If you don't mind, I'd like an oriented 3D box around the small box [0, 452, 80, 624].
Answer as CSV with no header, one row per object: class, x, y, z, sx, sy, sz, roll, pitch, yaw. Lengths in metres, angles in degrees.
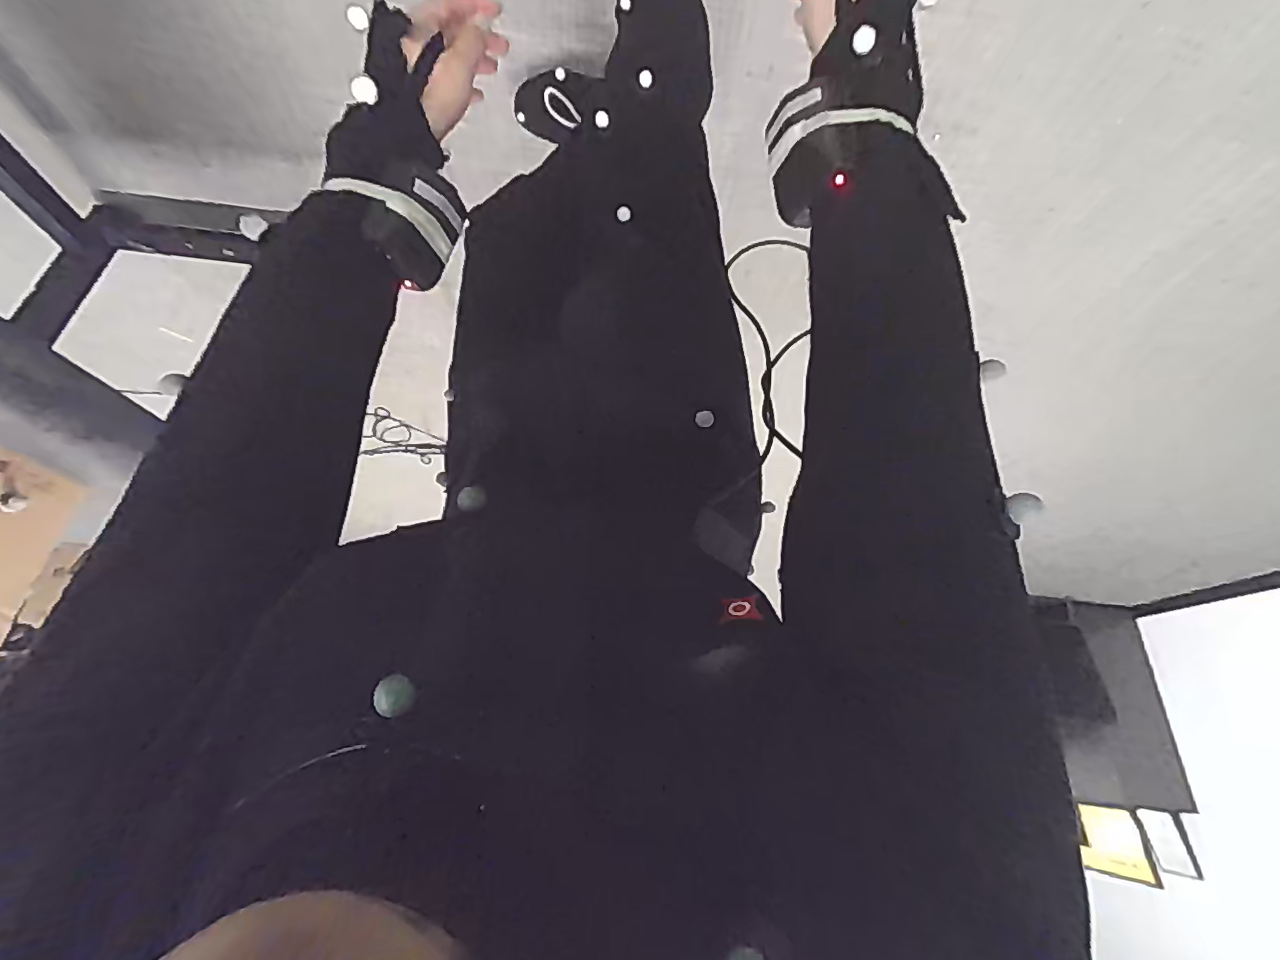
small box,-0.794,0.049,0.585,0.179,0.176,0.168,5,155,-1
